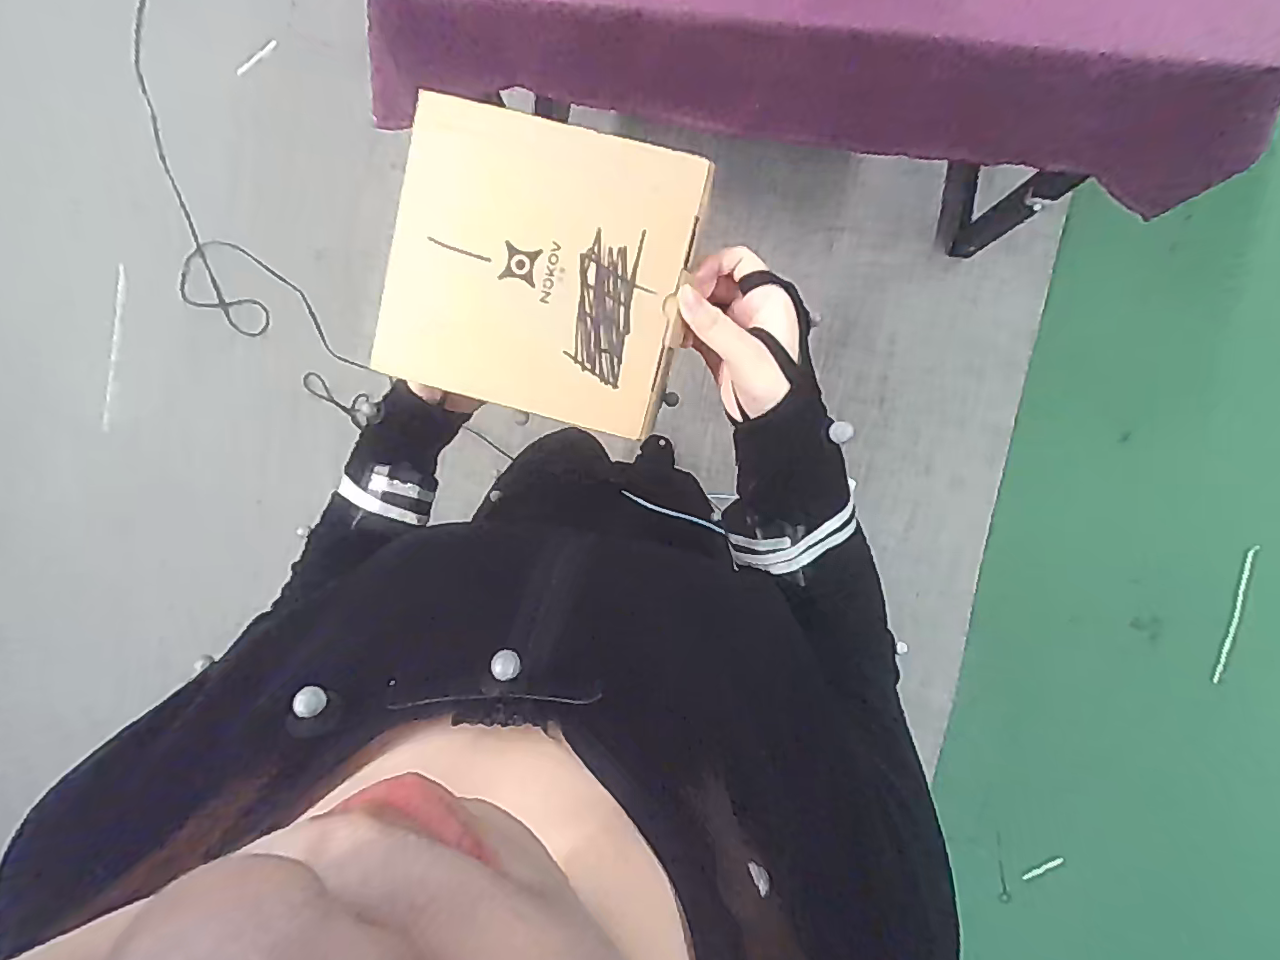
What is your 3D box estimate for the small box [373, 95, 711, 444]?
[{"bbox_3d":[-0.058,-0.134,0.400,0.179,0.176,0.168,15,98,2],"label":"small box"}]
